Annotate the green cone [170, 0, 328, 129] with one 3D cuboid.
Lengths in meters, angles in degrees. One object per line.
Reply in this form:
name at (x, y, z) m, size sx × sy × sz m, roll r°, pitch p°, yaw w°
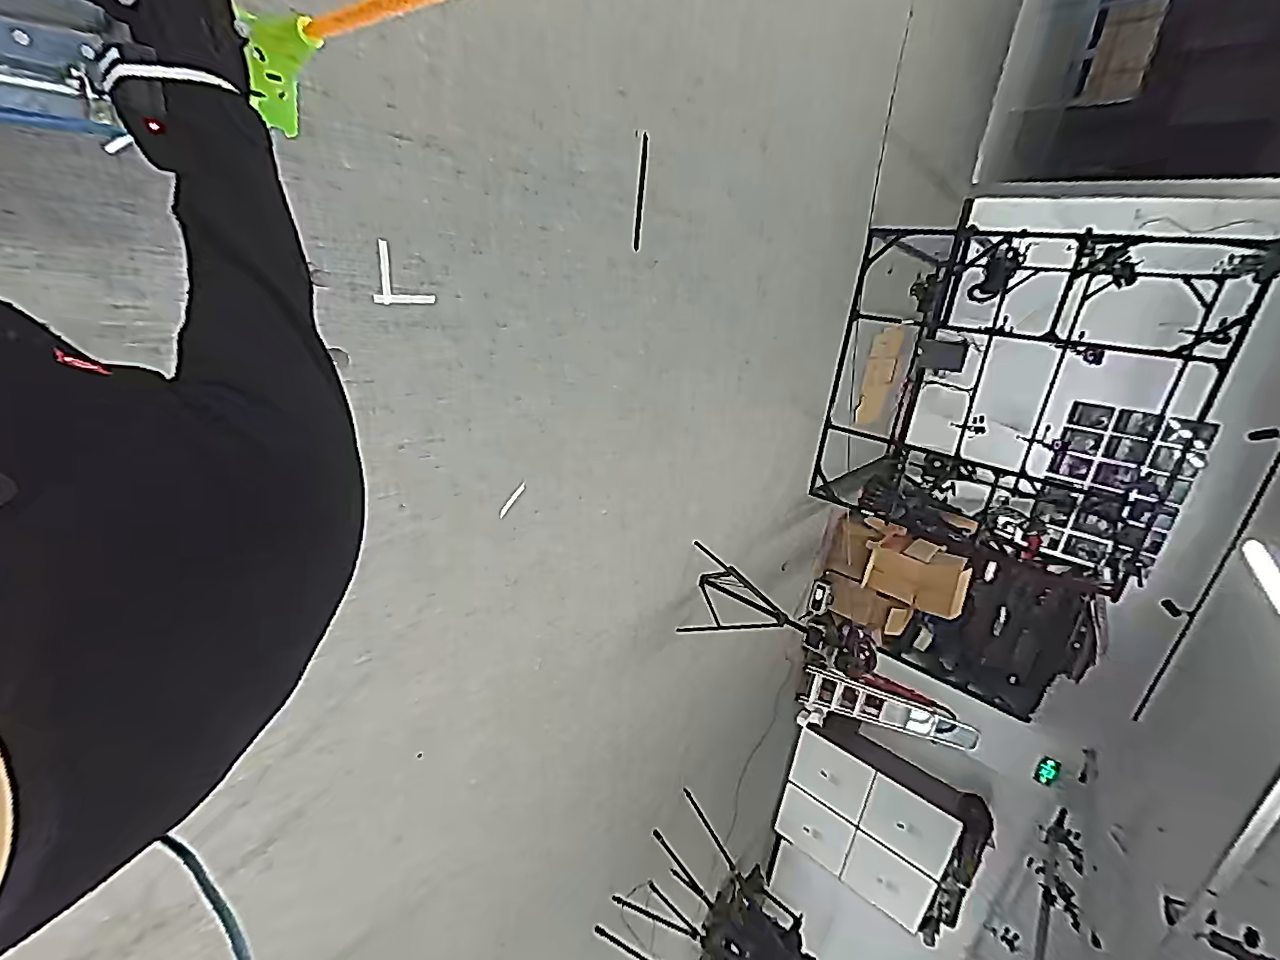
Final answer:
green cone at (-0.675, -0.791, 0.984) m, size 0.202 × 0.368 × 0.200 m, roll -12°, pitch 117°, yaw -51°
